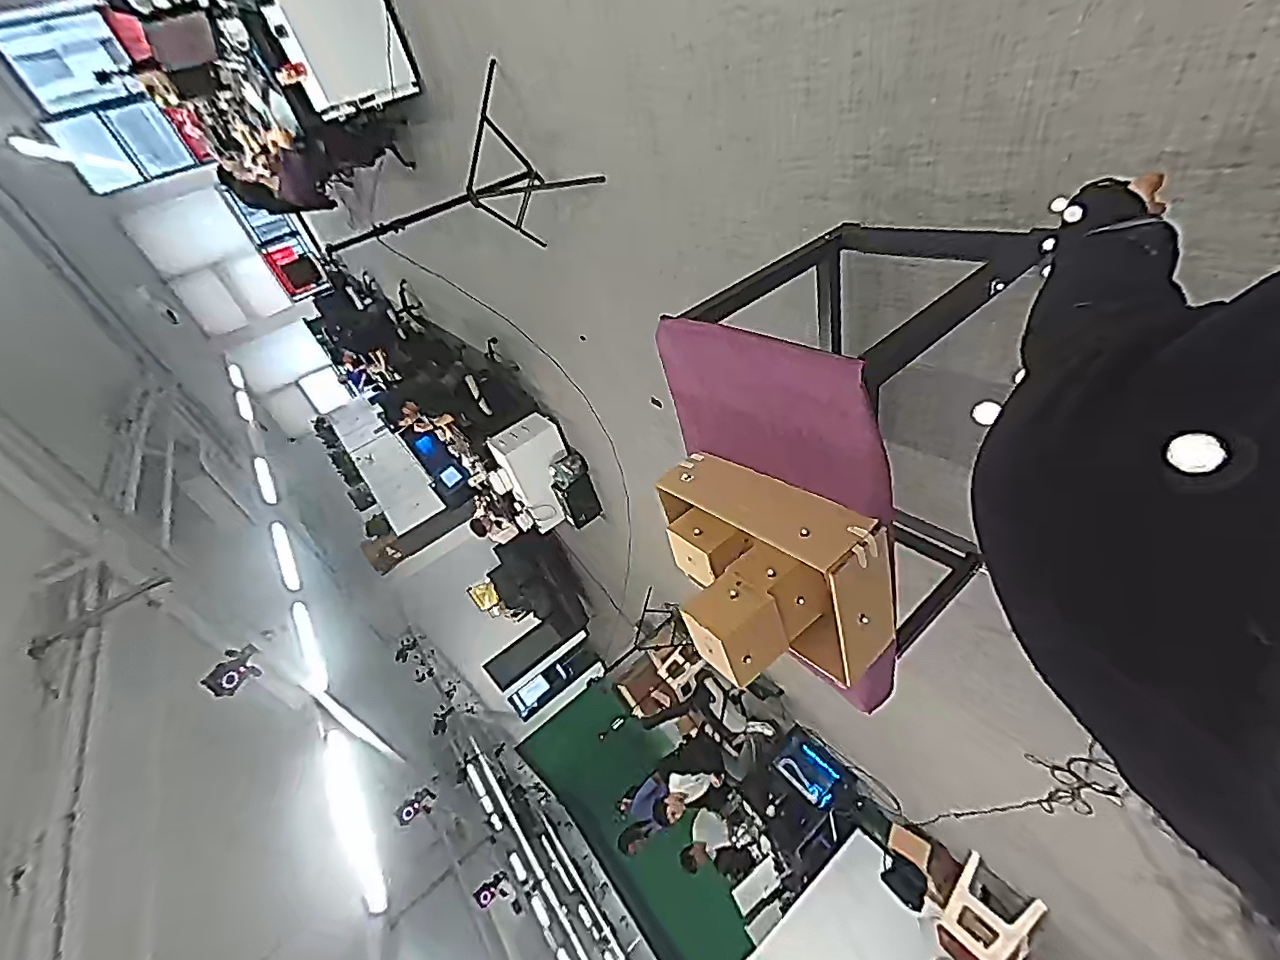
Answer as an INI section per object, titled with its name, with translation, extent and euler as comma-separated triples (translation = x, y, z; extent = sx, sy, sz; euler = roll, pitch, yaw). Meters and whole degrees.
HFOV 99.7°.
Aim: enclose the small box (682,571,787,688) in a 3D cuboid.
[small box]
translation = 0.235, 0.357, 1.317
extent = 0.168, 0.176, 0.179
euler = 26, 144, 55
